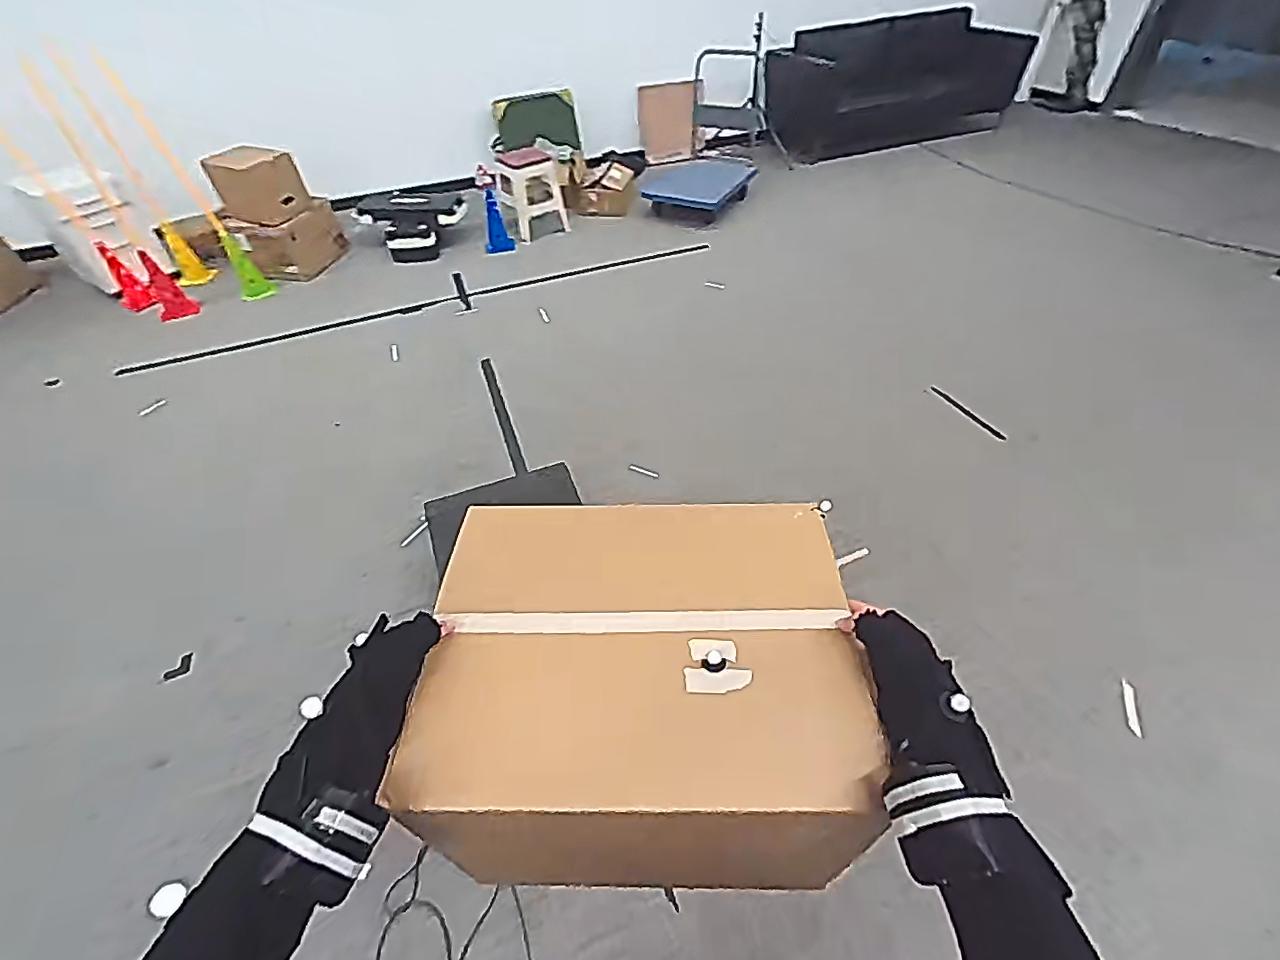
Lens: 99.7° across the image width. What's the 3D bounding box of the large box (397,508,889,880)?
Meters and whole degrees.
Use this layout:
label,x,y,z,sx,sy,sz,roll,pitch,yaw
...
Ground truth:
label,x,y,z,sx,sy,sz,roll,pitch,yaw
large box,0.003,0.251,0.638,0.408,0.320,0.320,-1,45,1
